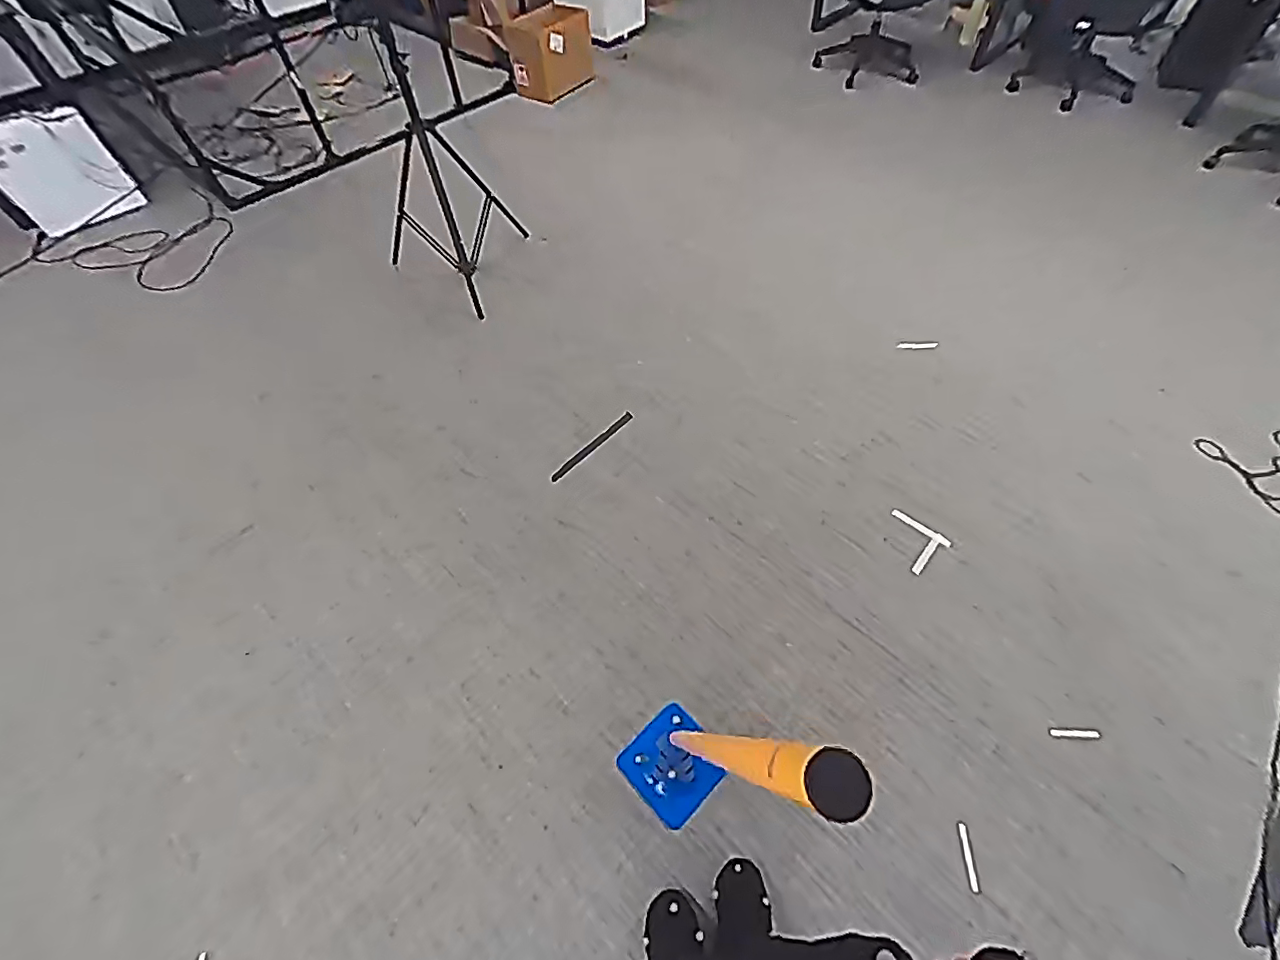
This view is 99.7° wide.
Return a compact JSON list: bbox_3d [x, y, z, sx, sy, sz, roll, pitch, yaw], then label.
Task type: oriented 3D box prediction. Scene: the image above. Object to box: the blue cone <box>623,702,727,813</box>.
[{"bbox_3d":[0.073,0.545,1.116,0.192,0.380,0.193,-37,62,-21],"label":"blue cone"}]
